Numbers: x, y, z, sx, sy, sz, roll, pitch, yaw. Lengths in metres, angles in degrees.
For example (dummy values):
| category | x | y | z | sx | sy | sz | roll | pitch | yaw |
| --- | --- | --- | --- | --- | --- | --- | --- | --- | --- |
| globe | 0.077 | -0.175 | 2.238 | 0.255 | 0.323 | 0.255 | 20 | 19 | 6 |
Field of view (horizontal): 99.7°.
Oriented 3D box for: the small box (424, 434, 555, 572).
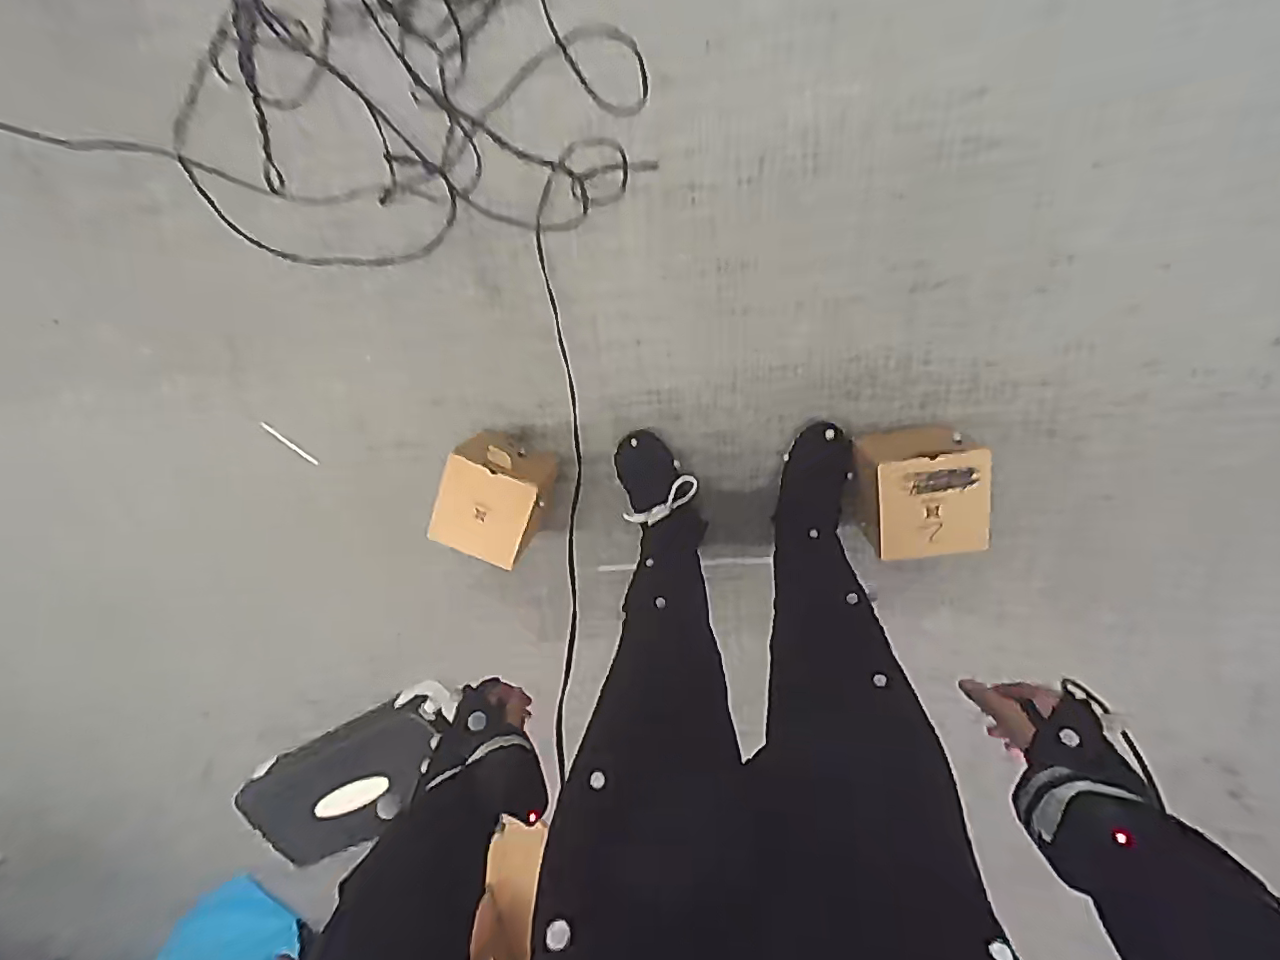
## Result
| category | x | y | z | sx | sy | sz | roll | pitch | yaw |
| --- | --- | --- | --- | --- | --- | --- | --- | --- | --- |
| small box | -0.272 | 0.036 | 1.011 | 0.168 | 0.176 | 0.179 | 21 | 110 | -1 |
